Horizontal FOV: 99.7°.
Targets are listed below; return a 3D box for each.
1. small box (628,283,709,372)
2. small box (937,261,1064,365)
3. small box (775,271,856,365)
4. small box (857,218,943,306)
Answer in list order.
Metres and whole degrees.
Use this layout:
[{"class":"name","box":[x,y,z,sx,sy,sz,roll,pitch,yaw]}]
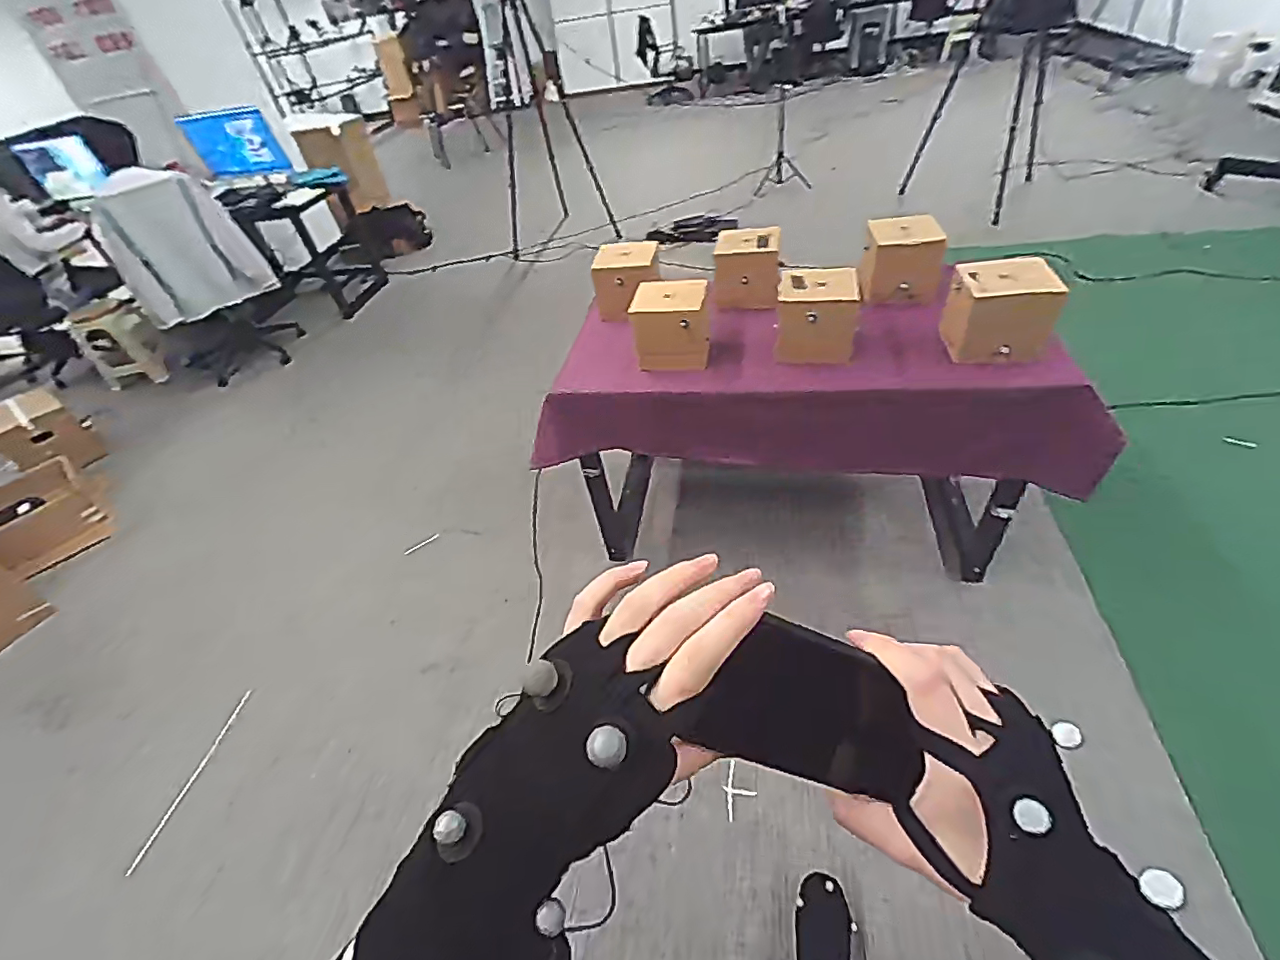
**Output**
[{"class":"small box","box":[0.080,-0.392,1.397,0.179,0.176,0.168,3,45,13]},{"class":"small box","box":[0.802,-0.374,1.224,0.179,0.176,0.168,0,44,12]},{"class":"small box","box":[0.426,-0.396,1.327,0.179,0.176,0.168,4,46,15]},{"class":"small box","box":[0.698,-0.592,1.472,0.168,0.176,0.179,-1,45,12]}]
